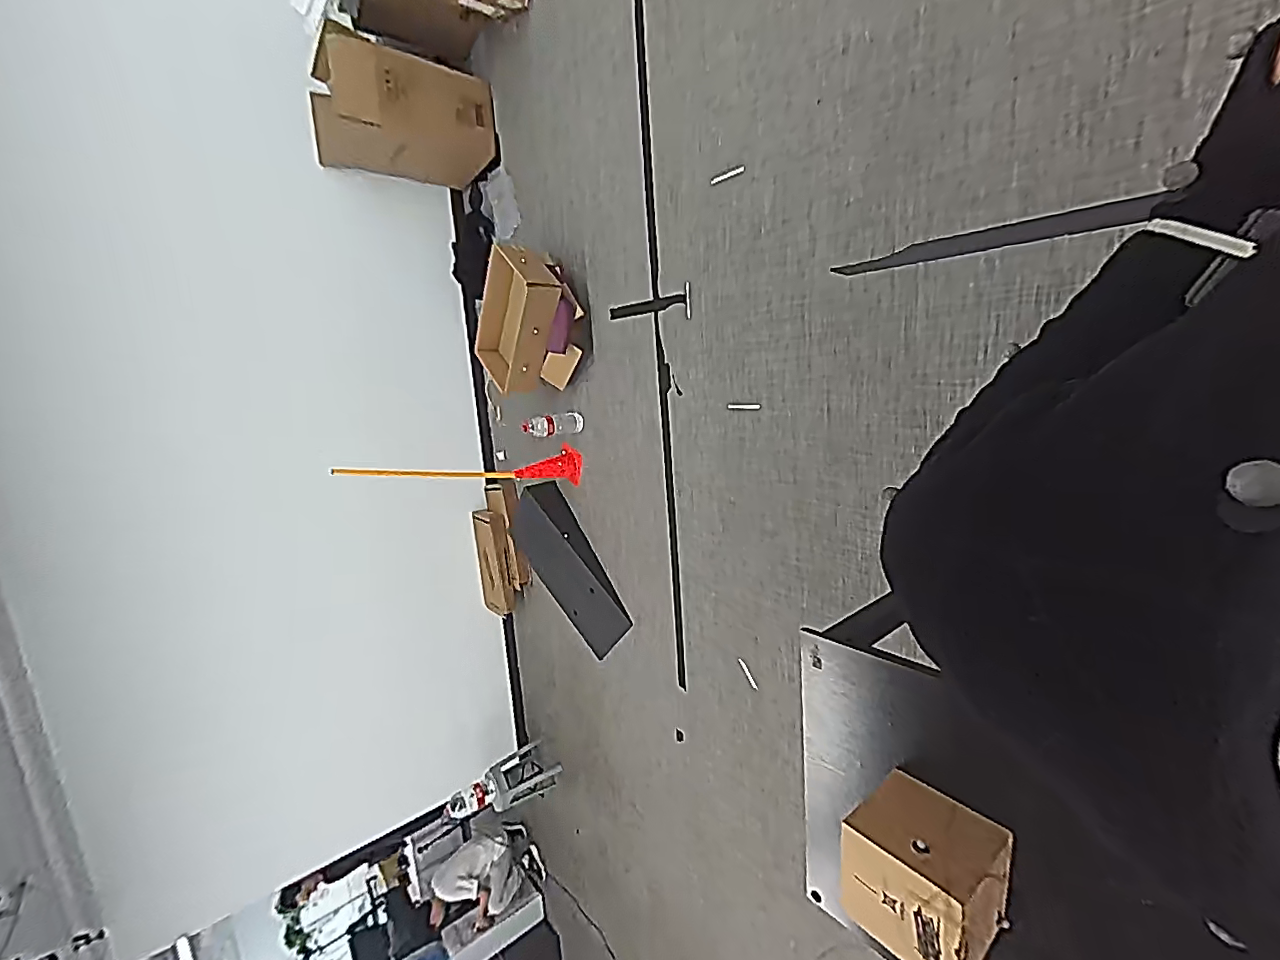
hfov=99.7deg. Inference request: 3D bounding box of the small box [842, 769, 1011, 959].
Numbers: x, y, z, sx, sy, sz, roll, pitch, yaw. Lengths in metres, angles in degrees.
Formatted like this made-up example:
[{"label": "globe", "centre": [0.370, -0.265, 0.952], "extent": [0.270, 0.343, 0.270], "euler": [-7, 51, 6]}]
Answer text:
[{"label": "small box", "centre": [0.432, 0.581, 0.820], "extent": [0.179, 0.176, 0.168], "euler": [13, 110, 51]}]
